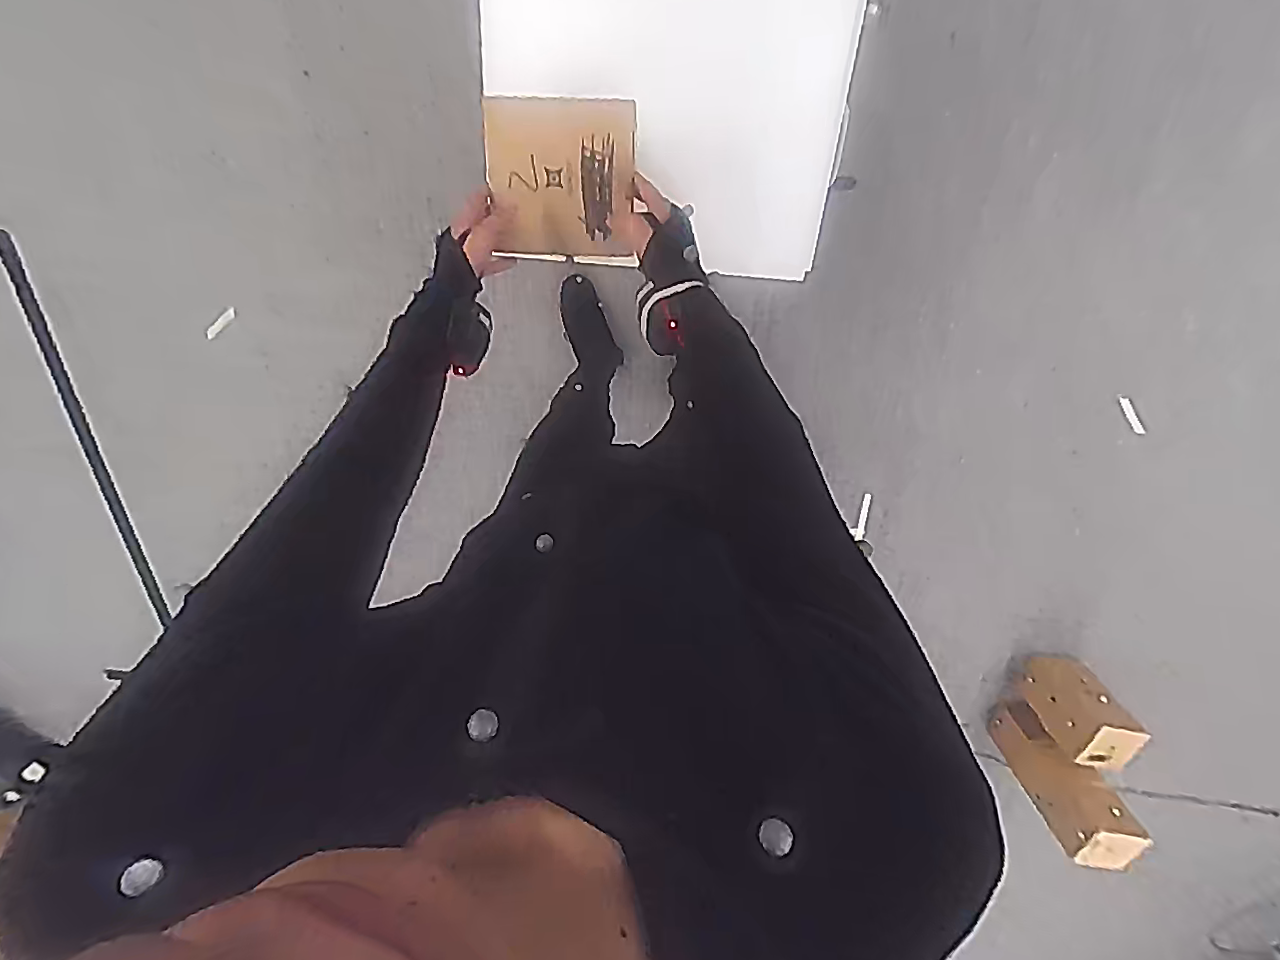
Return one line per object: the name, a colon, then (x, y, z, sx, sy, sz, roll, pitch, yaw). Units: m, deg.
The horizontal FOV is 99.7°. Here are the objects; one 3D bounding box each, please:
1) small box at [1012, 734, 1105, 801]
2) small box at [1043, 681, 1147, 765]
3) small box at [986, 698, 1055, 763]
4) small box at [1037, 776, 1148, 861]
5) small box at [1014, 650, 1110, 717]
small box: (1.458, 1.020, 1.898, 0.168, 0.176, 0.179, 5, 116, -2)
small box: (1.483, 0.797, 1.782, 0.168, 0.176, 0.179, 11, 115, -5)
small box: (1.462, 0.948, 2.044, 0.179, 0.176, 0.168, 4, 116, -1)
small box: (1.454, 1.091, 1.750, 0.179, 0.176, 0.168, 11, 116, -6)
small box: (1.500, 0.731, 1.932, 0.179, 0.176, 0.168, 8, 116, -2)
